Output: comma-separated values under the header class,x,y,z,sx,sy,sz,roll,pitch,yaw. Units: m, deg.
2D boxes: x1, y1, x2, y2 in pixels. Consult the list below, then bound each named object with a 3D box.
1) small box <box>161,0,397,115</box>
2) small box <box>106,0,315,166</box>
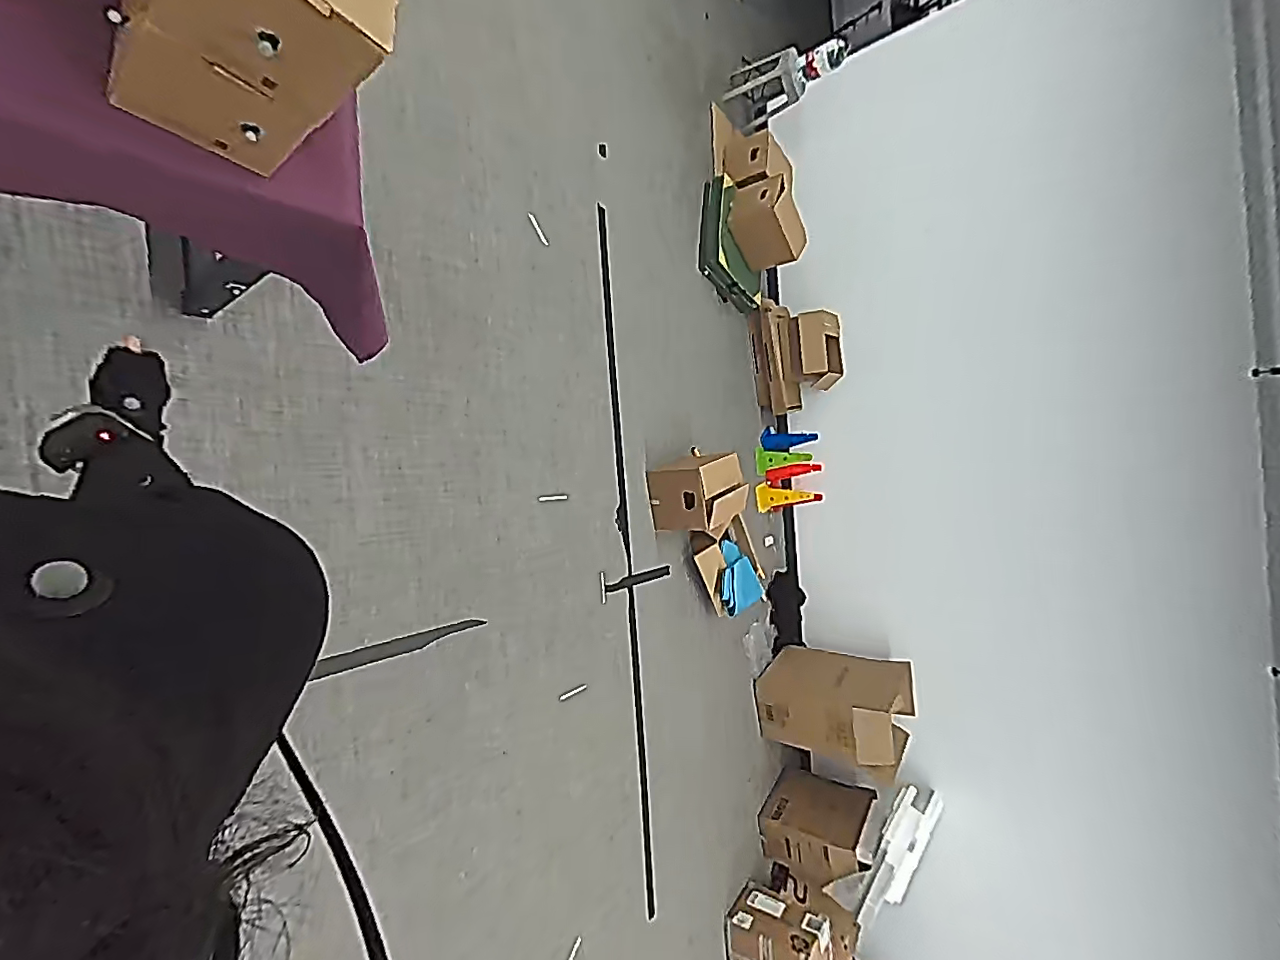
class,x,y,z,sx,sy,sz,roll,pitch,yaw
small box,-0.370,-0.535,0.563,0.168,0.176,0.179,16,74,-52
small box,-0.507,-0.525,0.652,0.168,0.176,0.179,10,77,-54
